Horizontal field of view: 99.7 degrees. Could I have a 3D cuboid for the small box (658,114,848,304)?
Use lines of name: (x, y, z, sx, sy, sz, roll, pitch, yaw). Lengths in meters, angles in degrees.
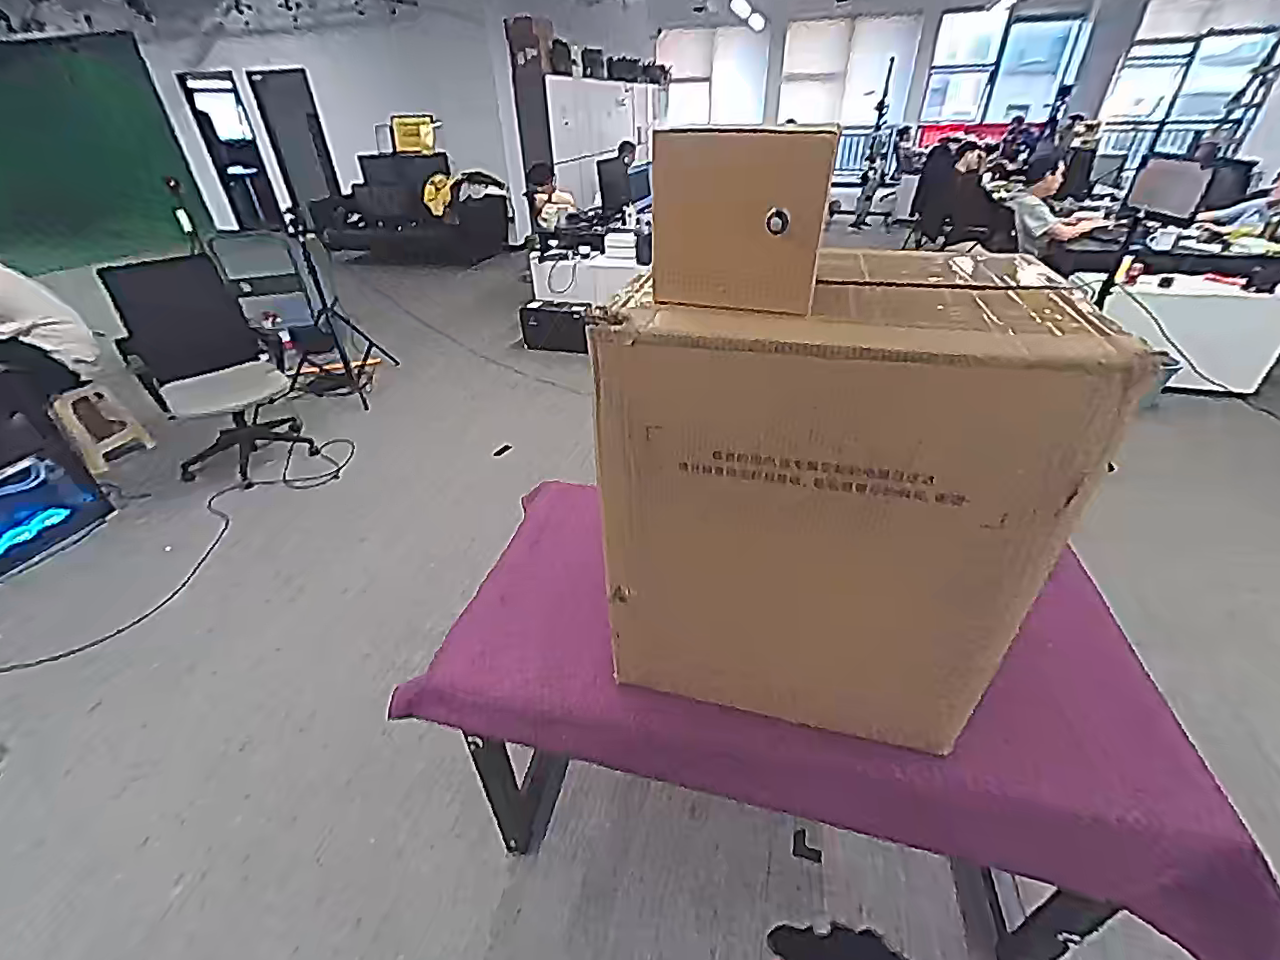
small box: (0.124, -0.304, 0.604, 0.179, 0.176, 0.168, 9, 35, 15)
